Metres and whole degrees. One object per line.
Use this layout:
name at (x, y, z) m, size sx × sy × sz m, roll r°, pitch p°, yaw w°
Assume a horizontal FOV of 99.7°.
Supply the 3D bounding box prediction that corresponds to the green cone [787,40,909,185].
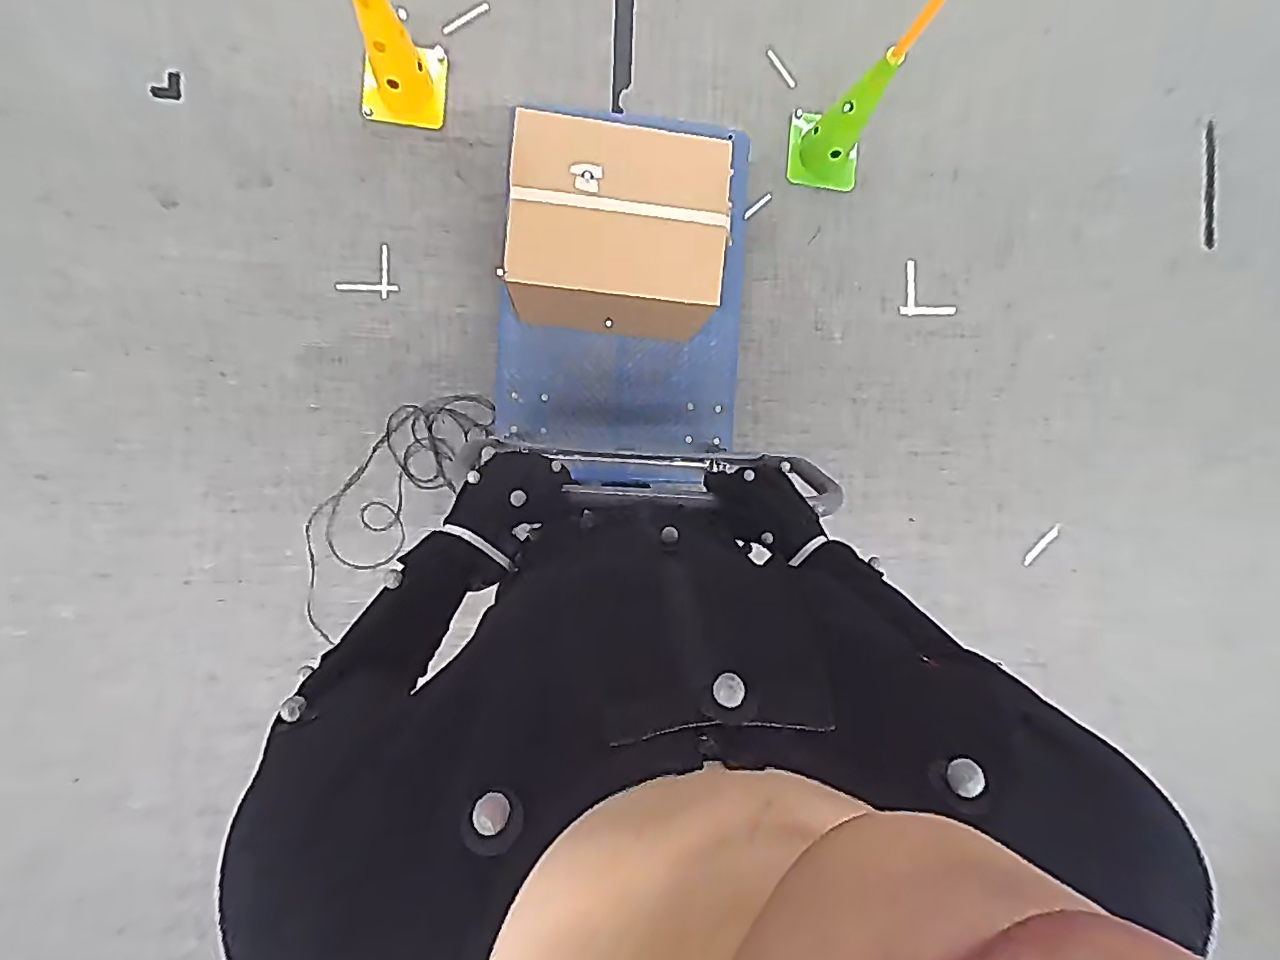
green cone at (0.537, -0.938, 1.352) m, size 0.202 × 0.368 × 0.200 m, roll 5°, pitch 91°, yaw -8°

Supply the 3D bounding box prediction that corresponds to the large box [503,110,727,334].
large box at (-0.055, -0.509, 1.145) m, size 0.408 × 0.320 × 0.320 m, roll 5°, pitch 91°, yaw -6°
